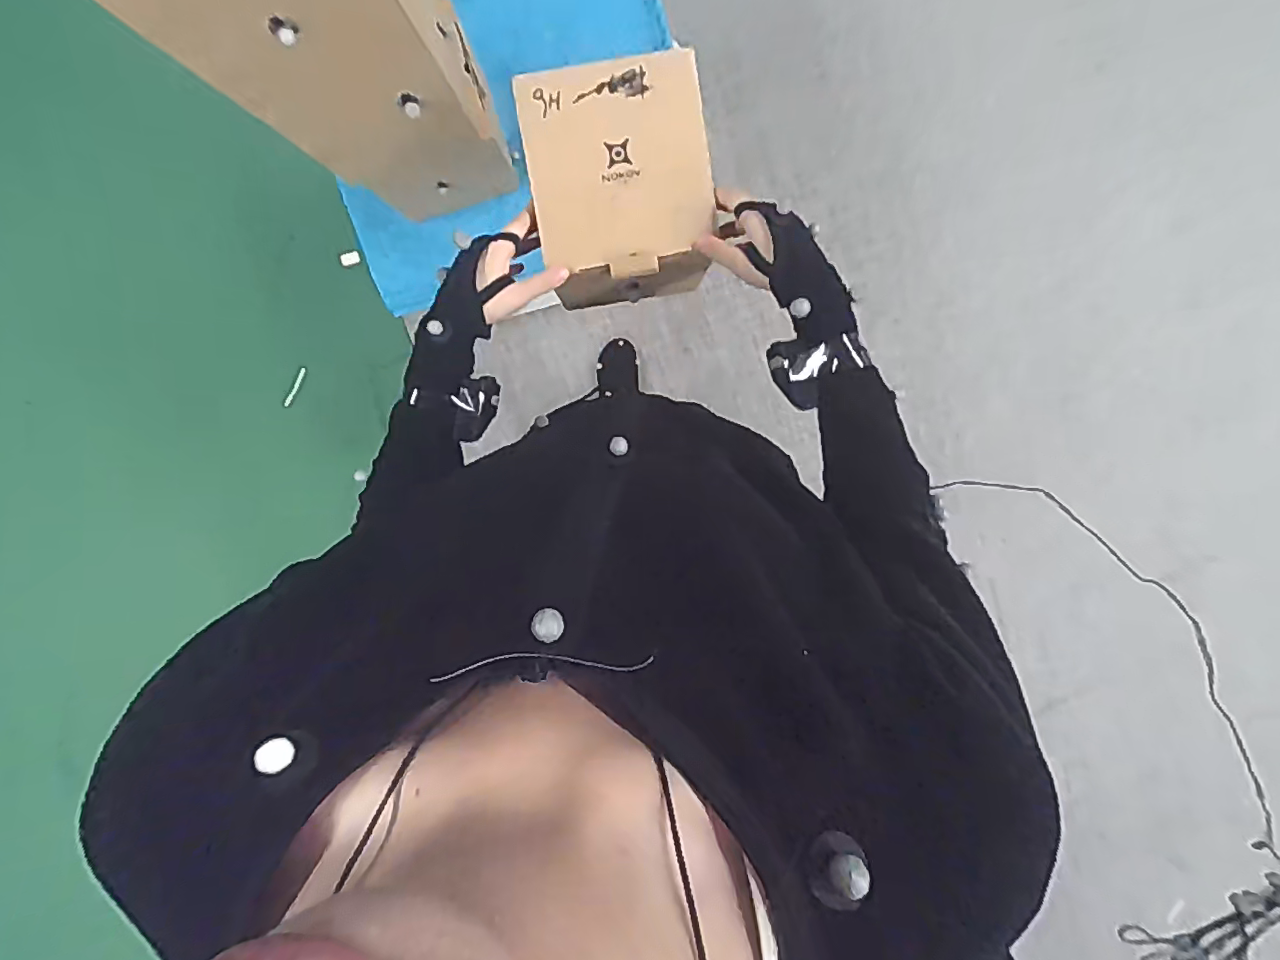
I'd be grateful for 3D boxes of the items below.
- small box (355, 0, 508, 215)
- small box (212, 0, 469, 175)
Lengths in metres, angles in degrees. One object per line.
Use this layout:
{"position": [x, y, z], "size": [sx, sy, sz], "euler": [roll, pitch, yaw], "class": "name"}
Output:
{"position": [-0.287, -0.480, 0.715], "size": [0.179, 0.176, 0.168], "euler": [-17, 99, 2], "class": "small box"}
{"position": [-0.292, -0.448, 0.553], "size": [0.179, 0.176, 0.168], "euler": [-17, 99, 2], "class": "small box"}
